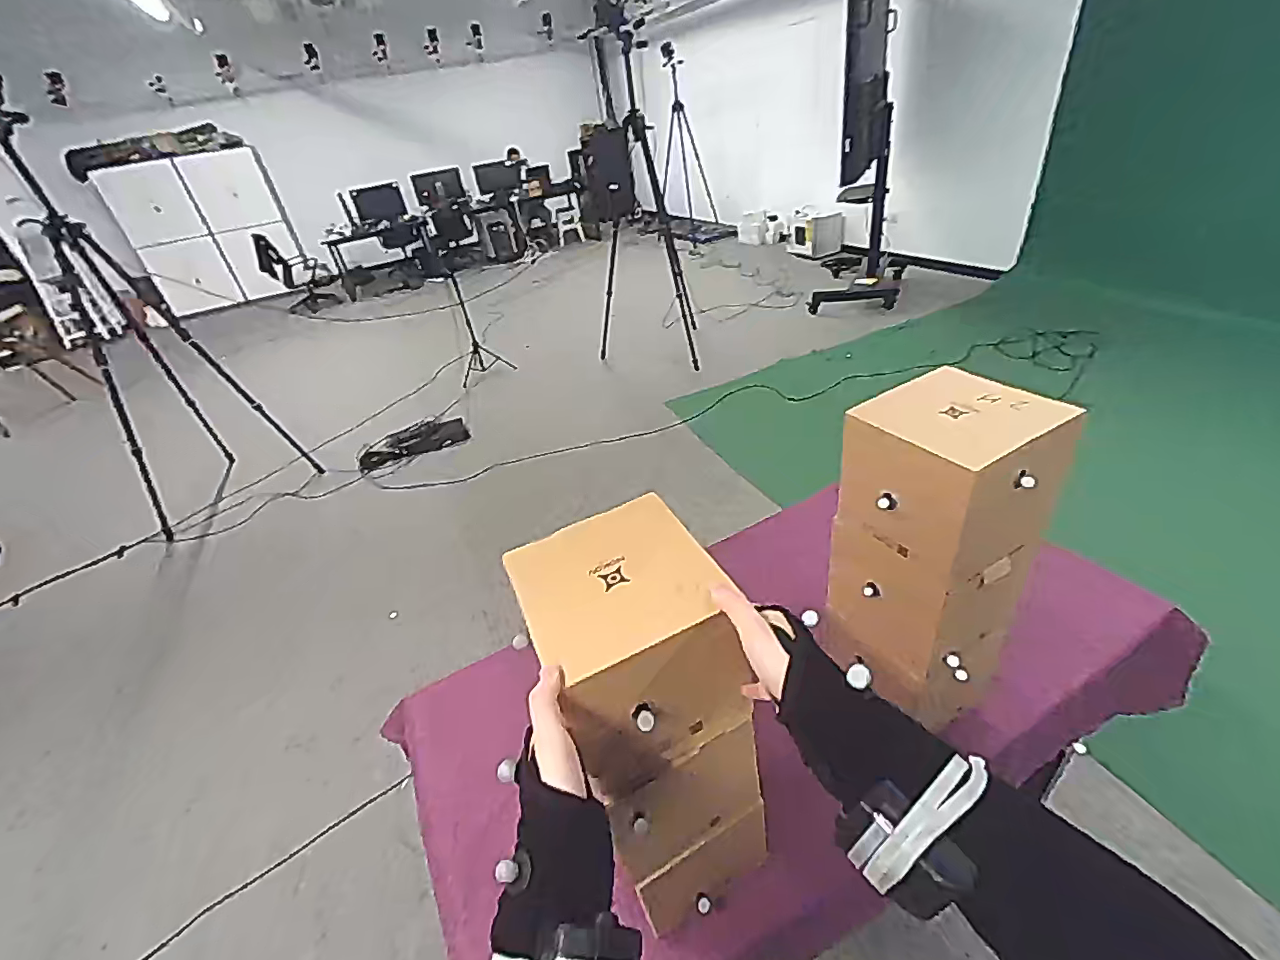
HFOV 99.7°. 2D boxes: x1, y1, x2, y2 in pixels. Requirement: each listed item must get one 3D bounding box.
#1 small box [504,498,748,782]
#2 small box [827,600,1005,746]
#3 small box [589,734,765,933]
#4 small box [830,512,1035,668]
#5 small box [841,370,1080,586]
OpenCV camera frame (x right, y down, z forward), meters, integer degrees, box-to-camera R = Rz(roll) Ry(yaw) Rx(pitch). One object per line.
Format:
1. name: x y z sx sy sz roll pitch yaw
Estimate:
1. small box: -0.010 0.153 0.518 0.168 0.176 0.179 -23 36 -14
2. small box: 0.408 0.261 0.830 0.168 0.176 0.179 -25 36 -17
3. small box: 0.043 0.423 0.698 0.168 0.176 0.179 -23 37 -17
4. small box: 0.383 0.127 0.739 0.168 0.176 0.179 -24 36 -19
5. small box: 0.362 -0.005 0.643 0.179 0.176 0.168 -23 37 -18
